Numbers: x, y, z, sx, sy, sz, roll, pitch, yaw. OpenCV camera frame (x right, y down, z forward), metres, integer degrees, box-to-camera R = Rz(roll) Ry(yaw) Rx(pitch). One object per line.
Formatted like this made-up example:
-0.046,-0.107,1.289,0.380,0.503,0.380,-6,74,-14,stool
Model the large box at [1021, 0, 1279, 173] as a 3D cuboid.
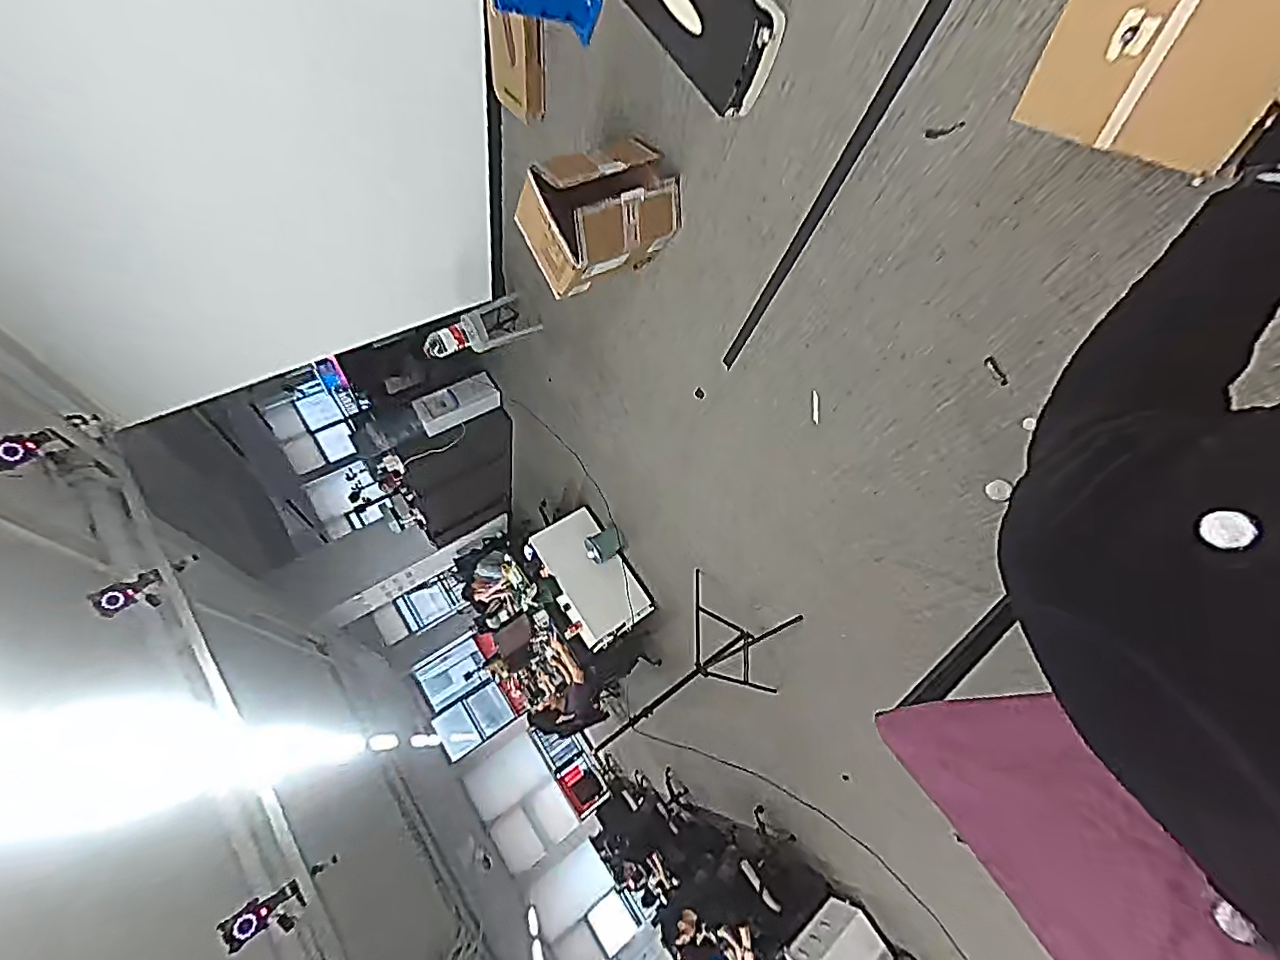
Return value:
0.864,-0.731,0.763,0.320,0.320,0.408,46,153,30,large box
